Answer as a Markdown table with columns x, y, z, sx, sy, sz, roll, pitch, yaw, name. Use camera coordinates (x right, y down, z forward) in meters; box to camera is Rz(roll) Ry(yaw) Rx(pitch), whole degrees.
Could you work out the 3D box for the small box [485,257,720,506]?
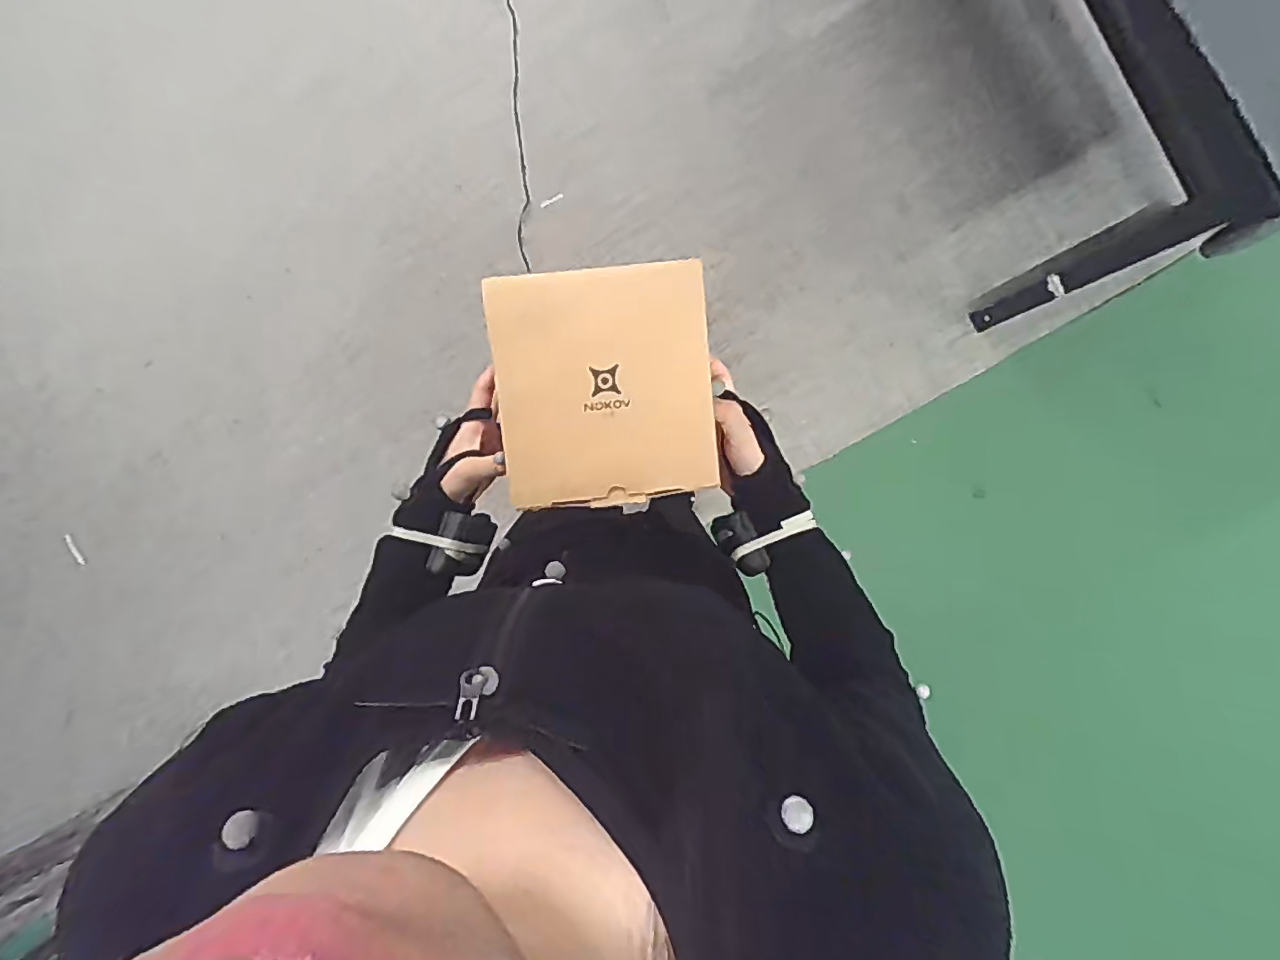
| x | y | z | sx | sy | sz | roll | pitch | yaw | name |
| --- | --- | --- | --- | --- | --- | --- | --- | --- | --- |
| -0.032 | -0.084 | 0.488 | 0.168 | 0.176 | 0.179 | -7 | 99 | -4 | small box |
